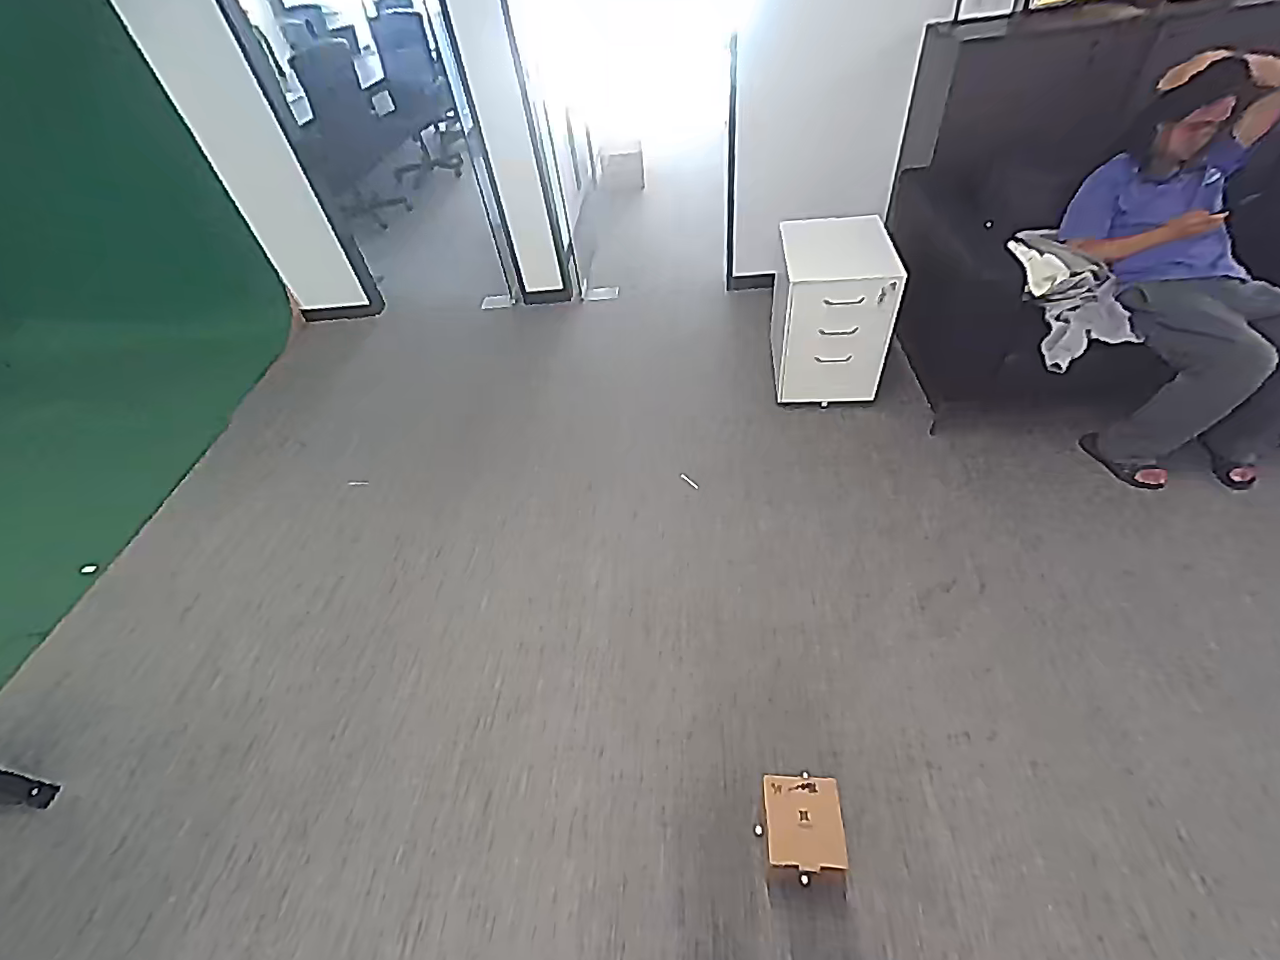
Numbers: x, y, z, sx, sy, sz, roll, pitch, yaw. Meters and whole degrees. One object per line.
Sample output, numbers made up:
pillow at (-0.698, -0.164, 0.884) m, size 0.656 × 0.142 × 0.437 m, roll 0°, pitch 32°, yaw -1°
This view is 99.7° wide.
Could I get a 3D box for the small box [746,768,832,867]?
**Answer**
small box at (0.344, 0.800, 1.280) m, size 0.168 × 0.176 × 0.179 m, roll -2°, pitch 47°, yaw 4°
